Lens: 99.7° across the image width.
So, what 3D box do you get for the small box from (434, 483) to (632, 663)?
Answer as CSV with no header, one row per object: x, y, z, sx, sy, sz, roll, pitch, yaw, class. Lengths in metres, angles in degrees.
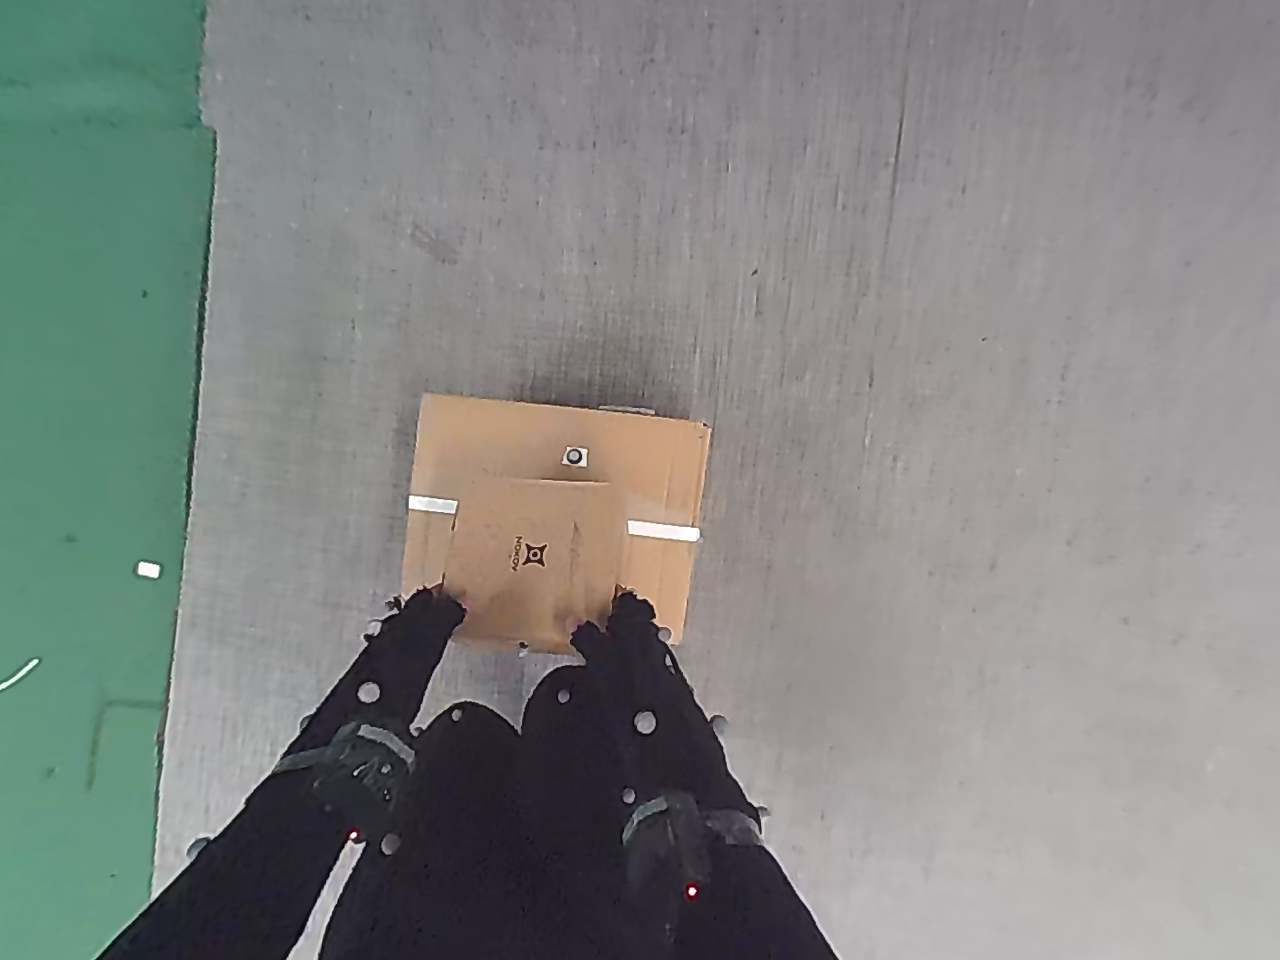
-0.104,0.112,0.614,0.179,0.176,0.168,1,66,2,small box
